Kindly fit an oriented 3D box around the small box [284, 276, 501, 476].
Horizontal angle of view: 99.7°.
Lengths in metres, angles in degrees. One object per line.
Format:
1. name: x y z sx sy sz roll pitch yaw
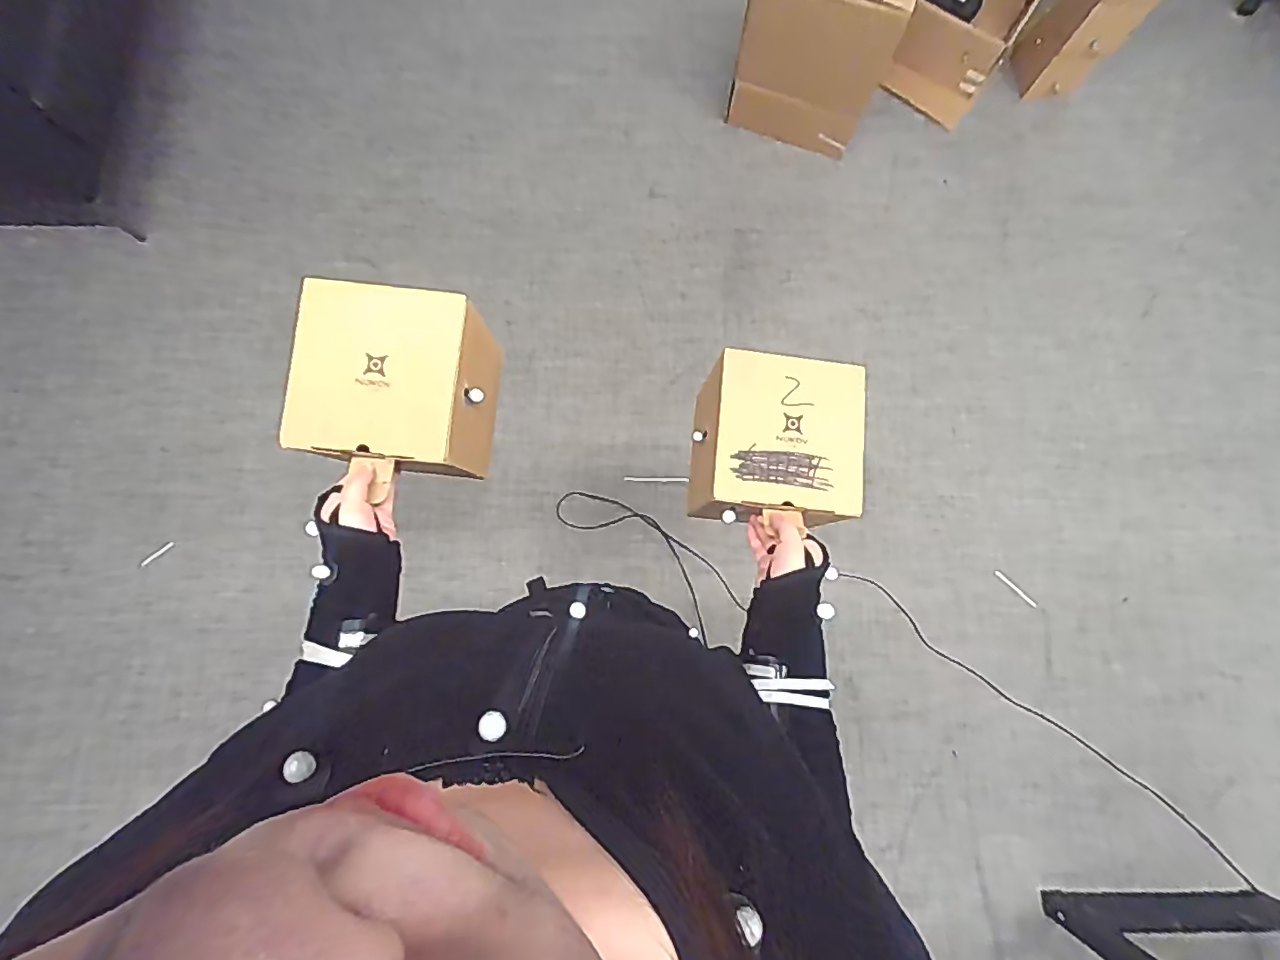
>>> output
1. small box: -0.264 -0.105 0.620 0.168 0.176 0.179 6 87 -2
